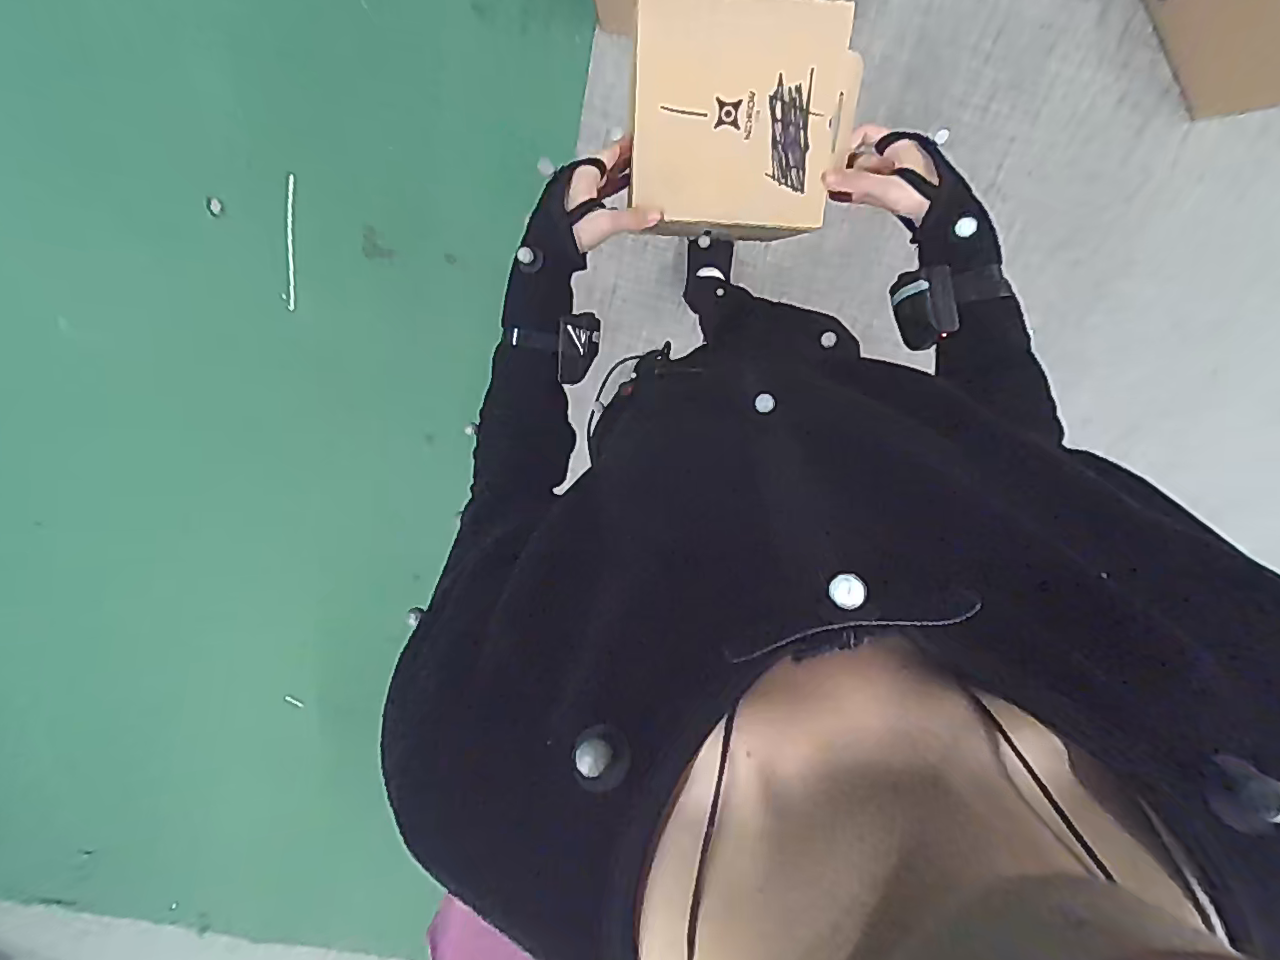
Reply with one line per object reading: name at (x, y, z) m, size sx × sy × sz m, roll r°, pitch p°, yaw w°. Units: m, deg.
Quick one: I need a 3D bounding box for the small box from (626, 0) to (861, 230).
small box at (0.080, -0.340, 0.520) m, size 0.179 × 0.176 × 0.168 m, roll 2°, pitch 110°, yaw -3°
